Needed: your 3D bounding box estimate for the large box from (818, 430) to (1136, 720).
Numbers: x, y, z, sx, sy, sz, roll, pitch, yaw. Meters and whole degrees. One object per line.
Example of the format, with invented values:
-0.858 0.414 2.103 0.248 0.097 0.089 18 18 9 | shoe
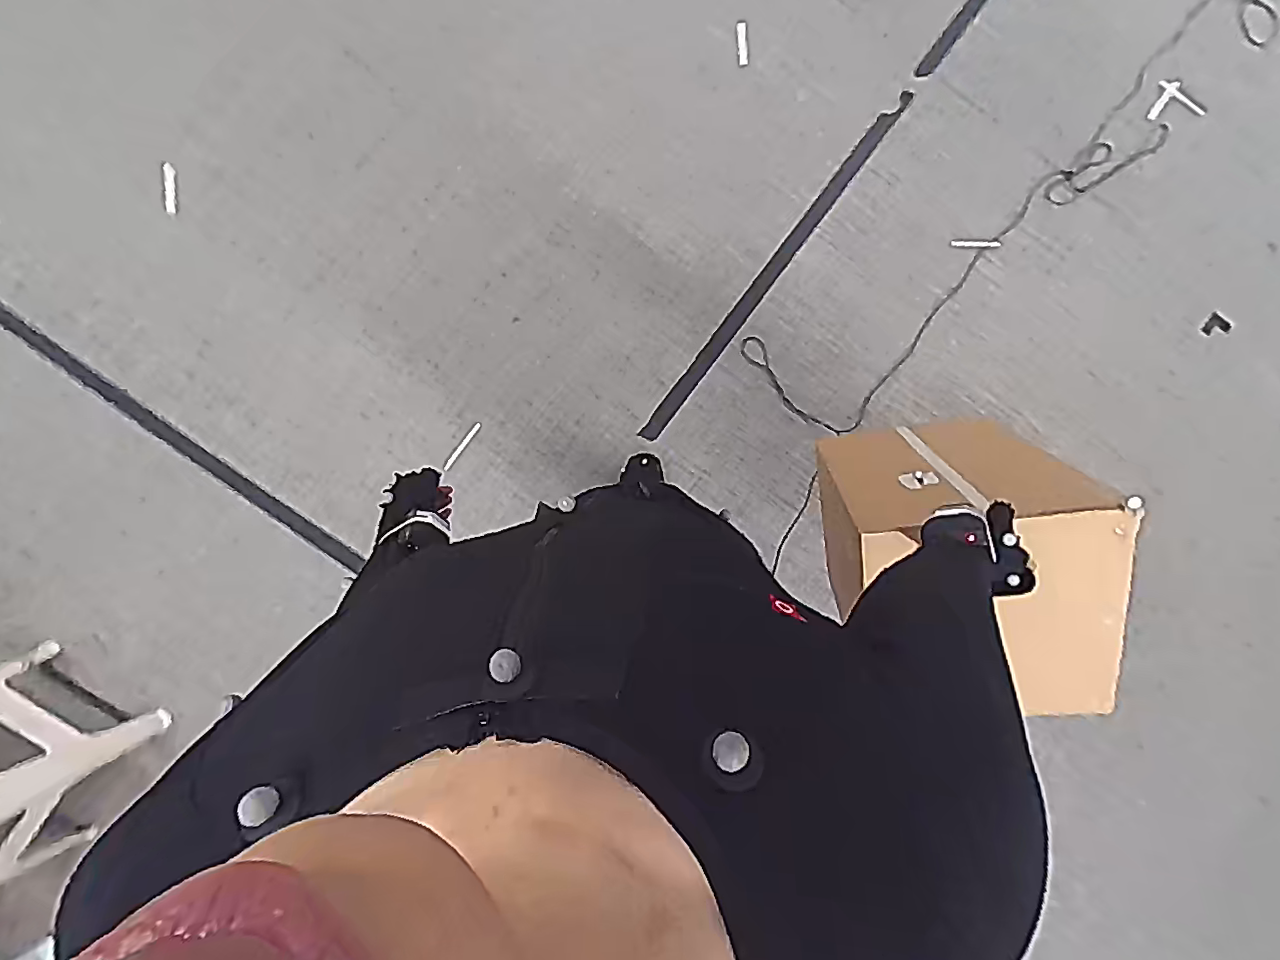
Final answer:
0.498 0.133 0.910 0.320 0.408 0.320 -7 111 11 | large box
